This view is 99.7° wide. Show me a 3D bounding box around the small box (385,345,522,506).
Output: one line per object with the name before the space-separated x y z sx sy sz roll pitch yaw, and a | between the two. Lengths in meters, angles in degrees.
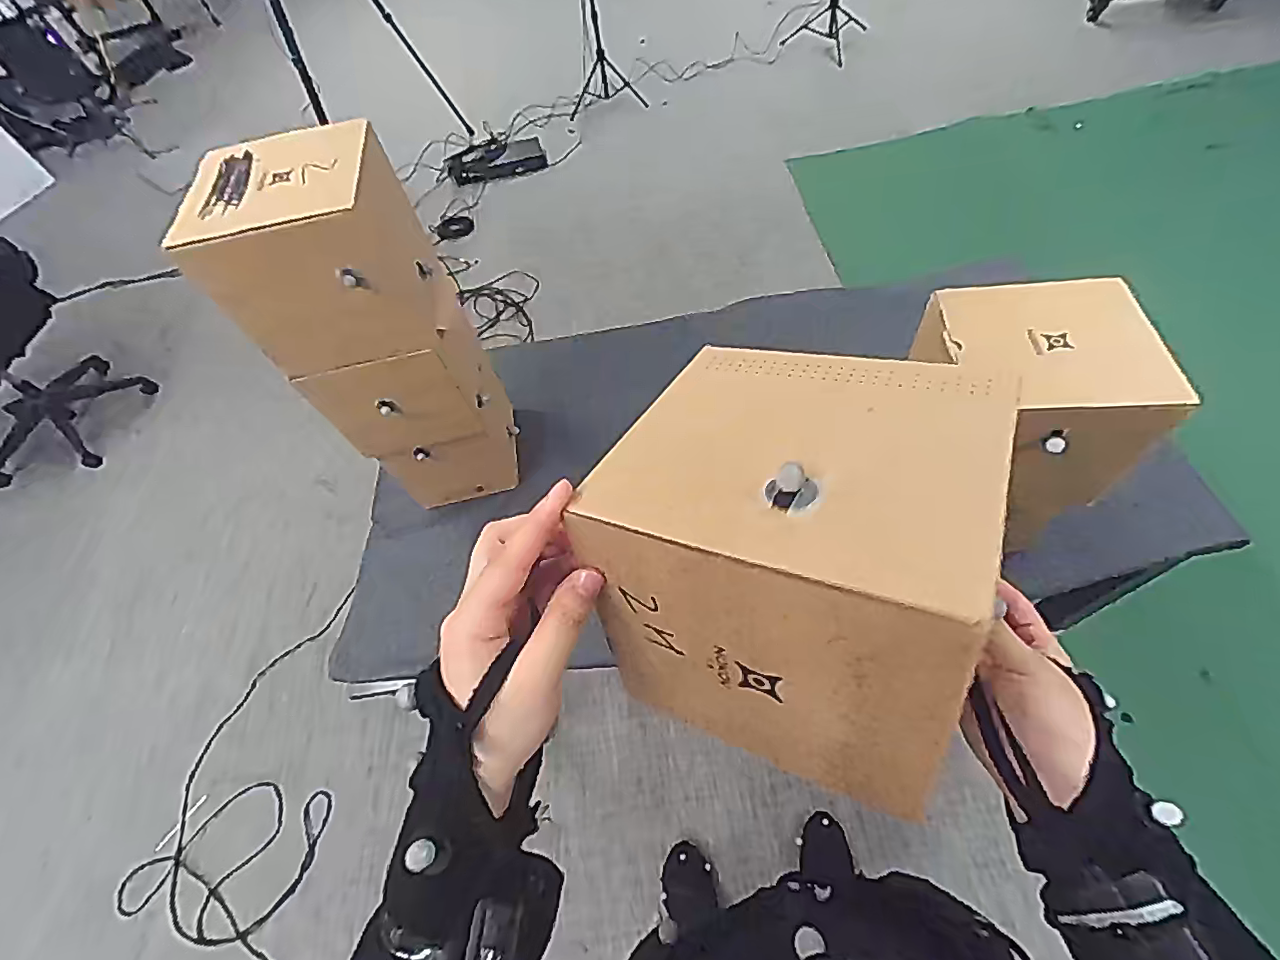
small box | -0.297 -0.084 0.874 0.168 0.176 0.179 -13 58 0

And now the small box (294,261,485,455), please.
small box | -0.316 -0.156 0.726 0.179 0.176 0.168 -13 58 2

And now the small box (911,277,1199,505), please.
small box | 0.392 -0.084 0.564 0.179 0.176 0.168 -1 57 10

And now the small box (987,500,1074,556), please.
small box | 0.414 -0.009 0.707 0.168 0.176 0.179 -10 57 4

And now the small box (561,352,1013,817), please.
small box | 0.090 0.042 0.311 0.179 0.168 0.176 15 48 30
